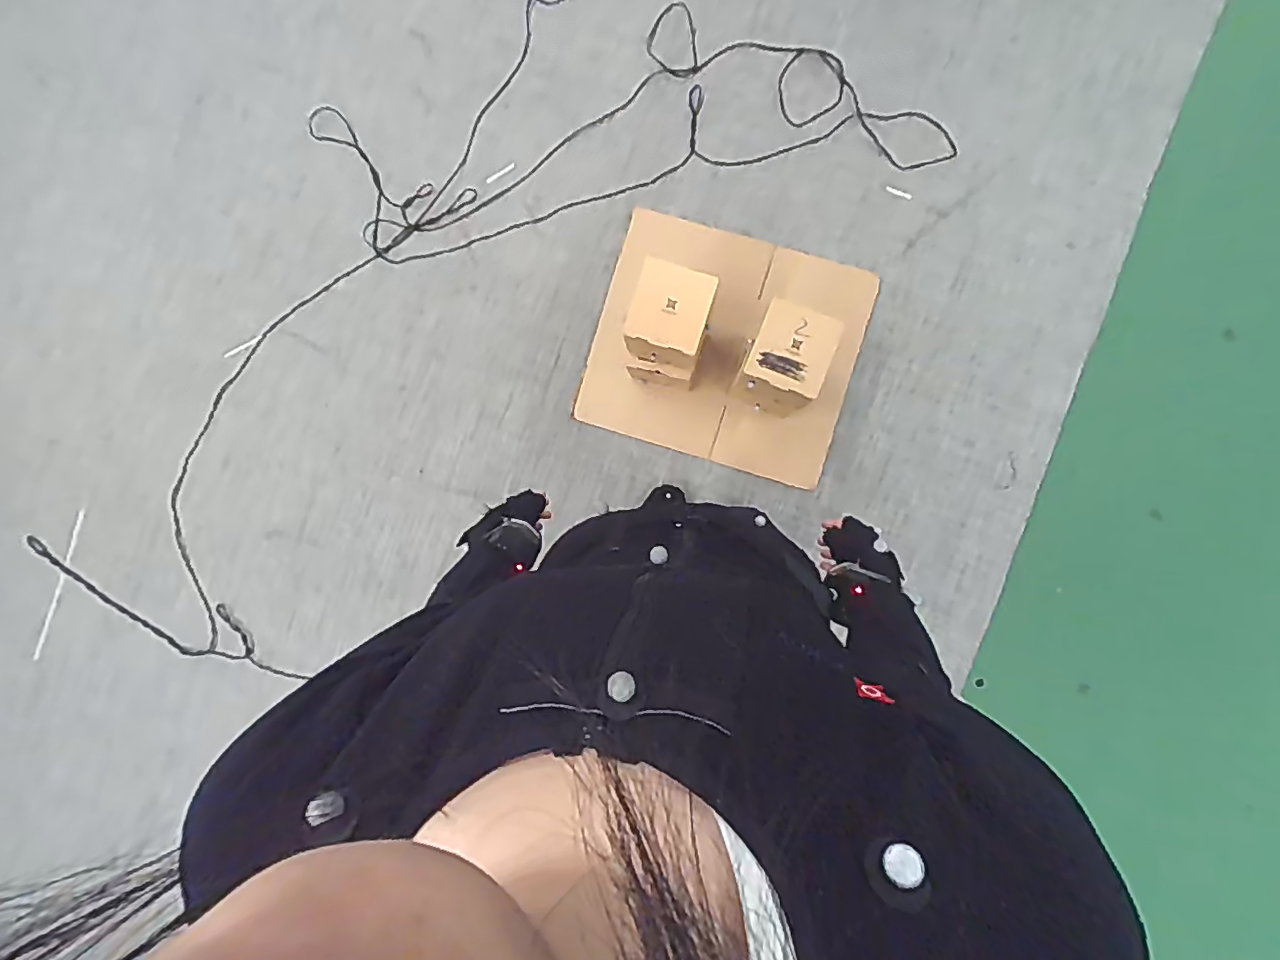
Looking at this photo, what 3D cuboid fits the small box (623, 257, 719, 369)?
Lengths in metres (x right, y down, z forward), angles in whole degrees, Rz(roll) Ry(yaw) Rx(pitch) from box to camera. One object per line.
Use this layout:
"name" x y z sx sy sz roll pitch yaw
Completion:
"small box" 0.068 -0.372 1.232 0.168 0.176 0.179 18 91 3

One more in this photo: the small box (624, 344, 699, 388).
"small box" 0.066 -0.346 1.395 0.168 0.176 0.179 15 91 4

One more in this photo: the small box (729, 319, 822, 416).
"small box" 0.336 -0.279 1.380 0.168 0.176 0.179 22 92 4
